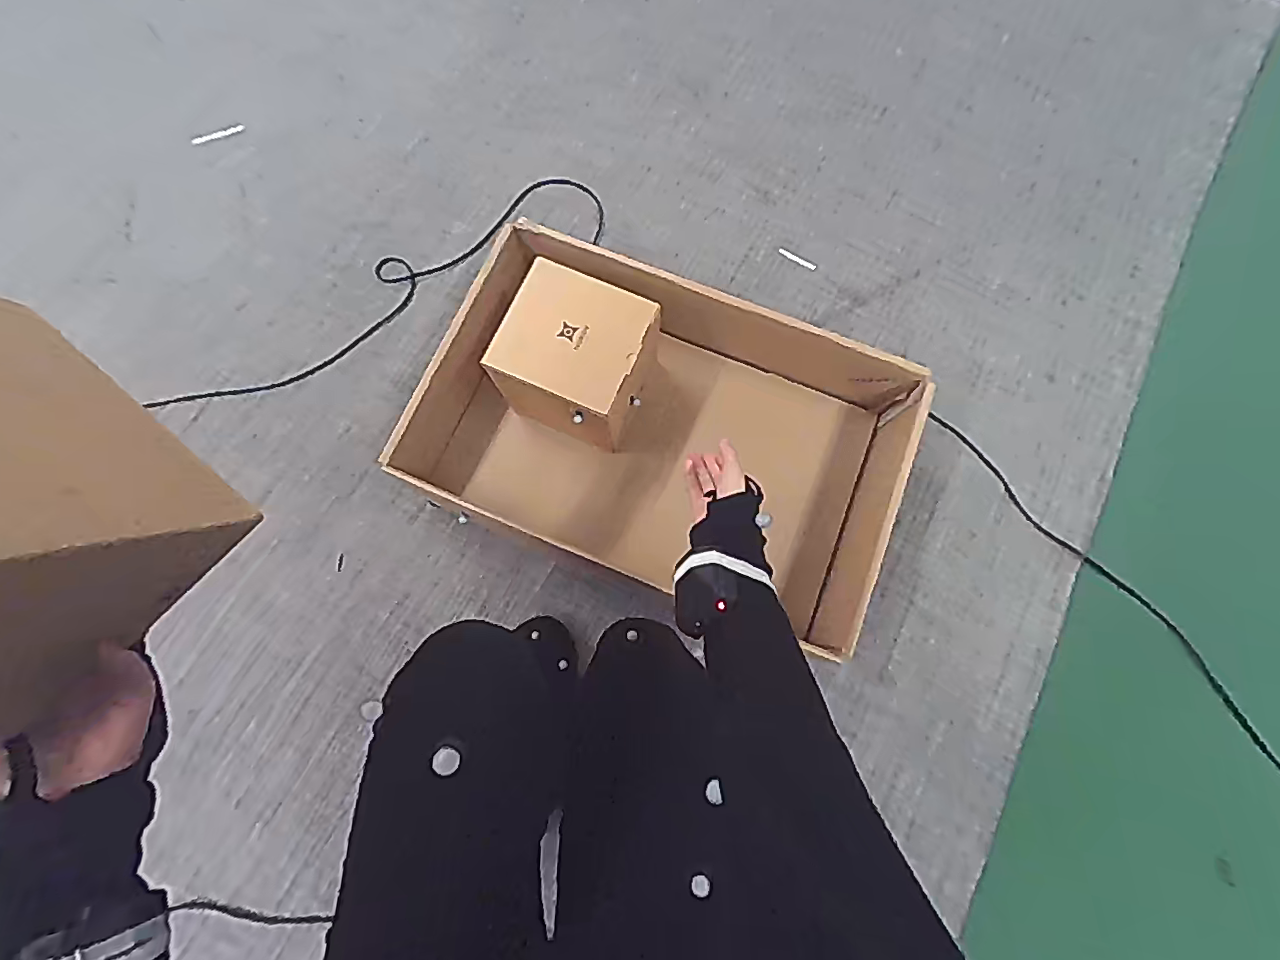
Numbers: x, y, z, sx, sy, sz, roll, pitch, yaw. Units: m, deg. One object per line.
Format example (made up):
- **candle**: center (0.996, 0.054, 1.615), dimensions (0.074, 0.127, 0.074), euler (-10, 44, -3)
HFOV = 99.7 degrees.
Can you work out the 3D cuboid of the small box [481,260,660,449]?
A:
- **small box**: center (-0.095, -0.162, 0.758), dimensions (0.179, 0.176, 0.168), euler (26, 76, -2)
